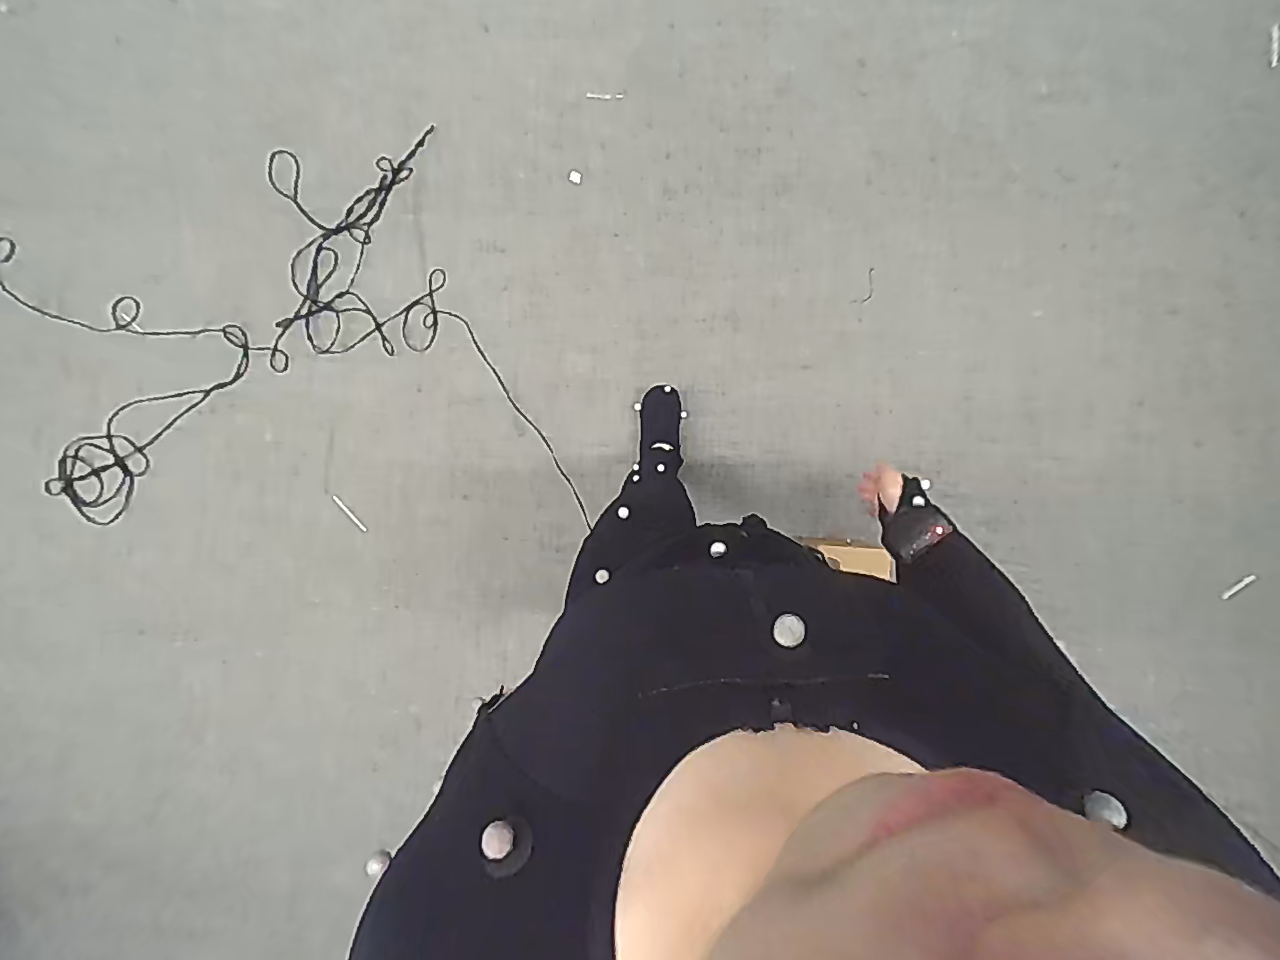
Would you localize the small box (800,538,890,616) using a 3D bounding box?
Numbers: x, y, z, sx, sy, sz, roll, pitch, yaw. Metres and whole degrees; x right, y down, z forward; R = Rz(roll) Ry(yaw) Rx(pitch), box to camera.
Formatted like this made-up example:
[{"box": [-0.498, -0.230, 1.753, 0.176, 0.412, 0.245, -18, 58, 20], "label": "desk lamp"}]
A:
[{"box": [0.518, 0.242, 1.387, 0.179, 0.176, 0.168, 3, 90, 3], "label": "small box"}]
